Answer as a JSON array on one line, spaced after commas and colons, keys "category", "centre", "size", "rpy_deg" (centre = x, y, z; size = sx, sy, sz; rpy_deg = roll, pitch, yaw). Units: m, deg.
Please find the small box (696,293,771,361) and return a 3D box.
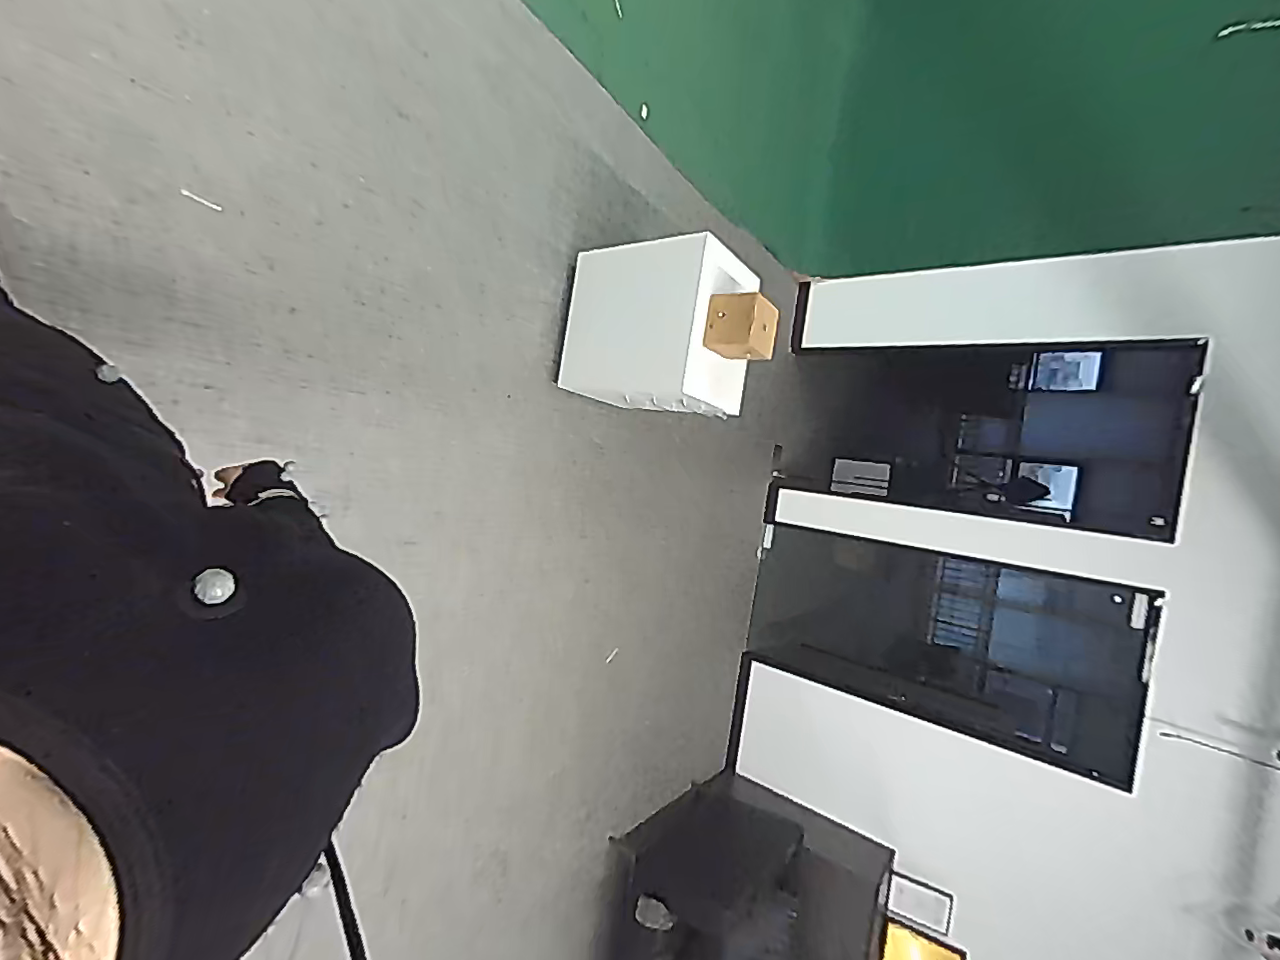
[{"category": "small box", "centre": [0.304, -0.493, 1.752], "size": [0.179, 0.176, 0.168], "rpy_deg": [9, 90, -55]}]
